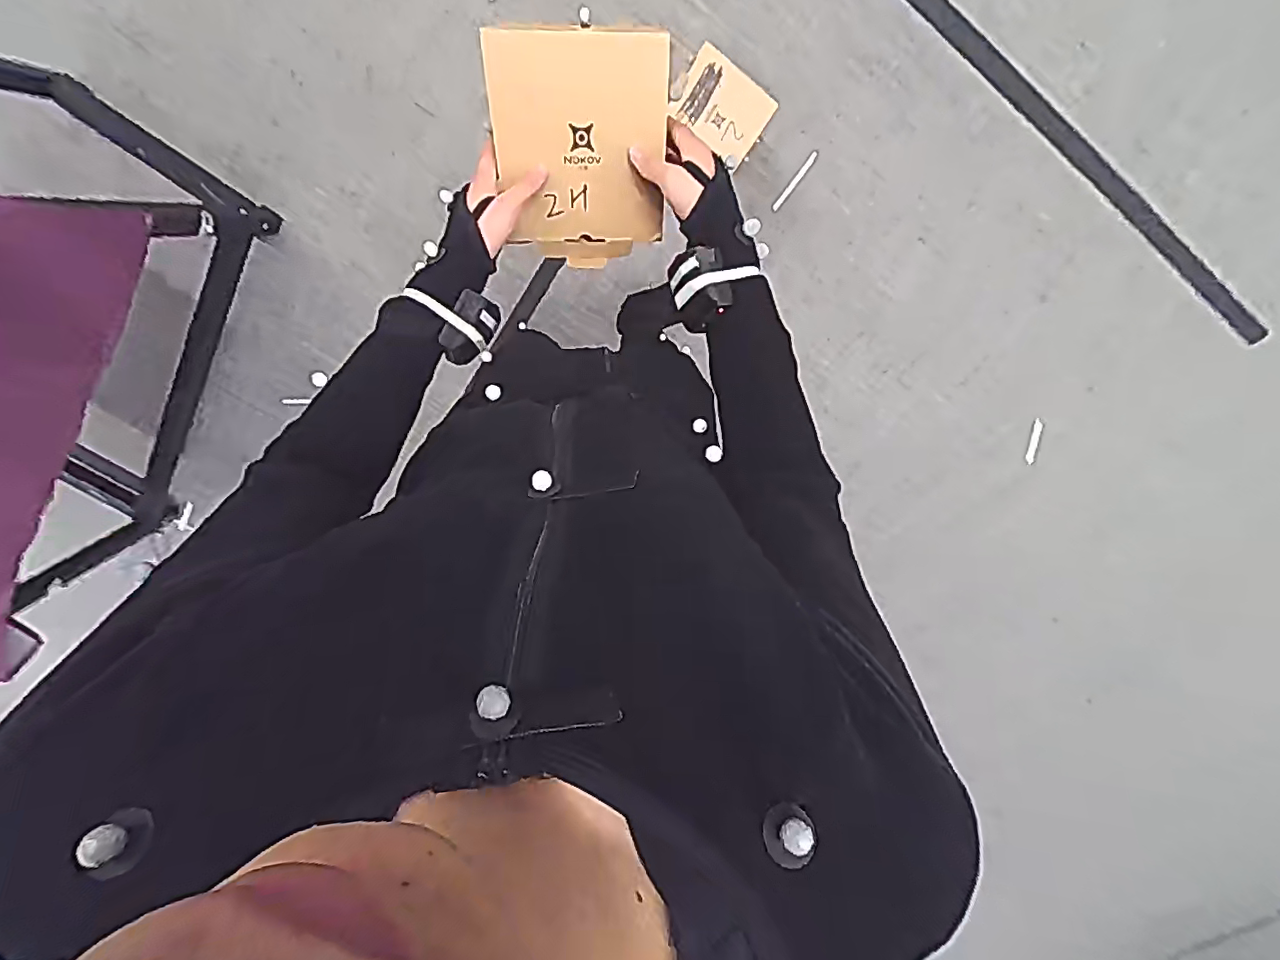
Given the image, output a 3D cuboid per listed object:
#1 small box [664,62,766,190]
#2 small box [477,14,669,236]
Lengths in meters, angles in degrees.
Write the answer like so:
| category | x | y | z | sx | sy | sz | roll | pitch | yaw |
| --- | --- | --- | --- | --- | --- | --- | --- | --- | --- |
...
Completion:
| category | x | y | z | sx | sy | sz | roll | pitch | yaw |
| --- | --- | --- | --- | --- | --- | --- | --- | --- | --- |
| small box | 0.161 | -0.787 | 1.227 | 0.168 | 0.176 | 0.179 | 31 | 114 | -10 |
| small box | -0.063 | -0.373 | 0.570 | 0.168 | 0.176 | 0.179 | -1 | 131 | -2 |
